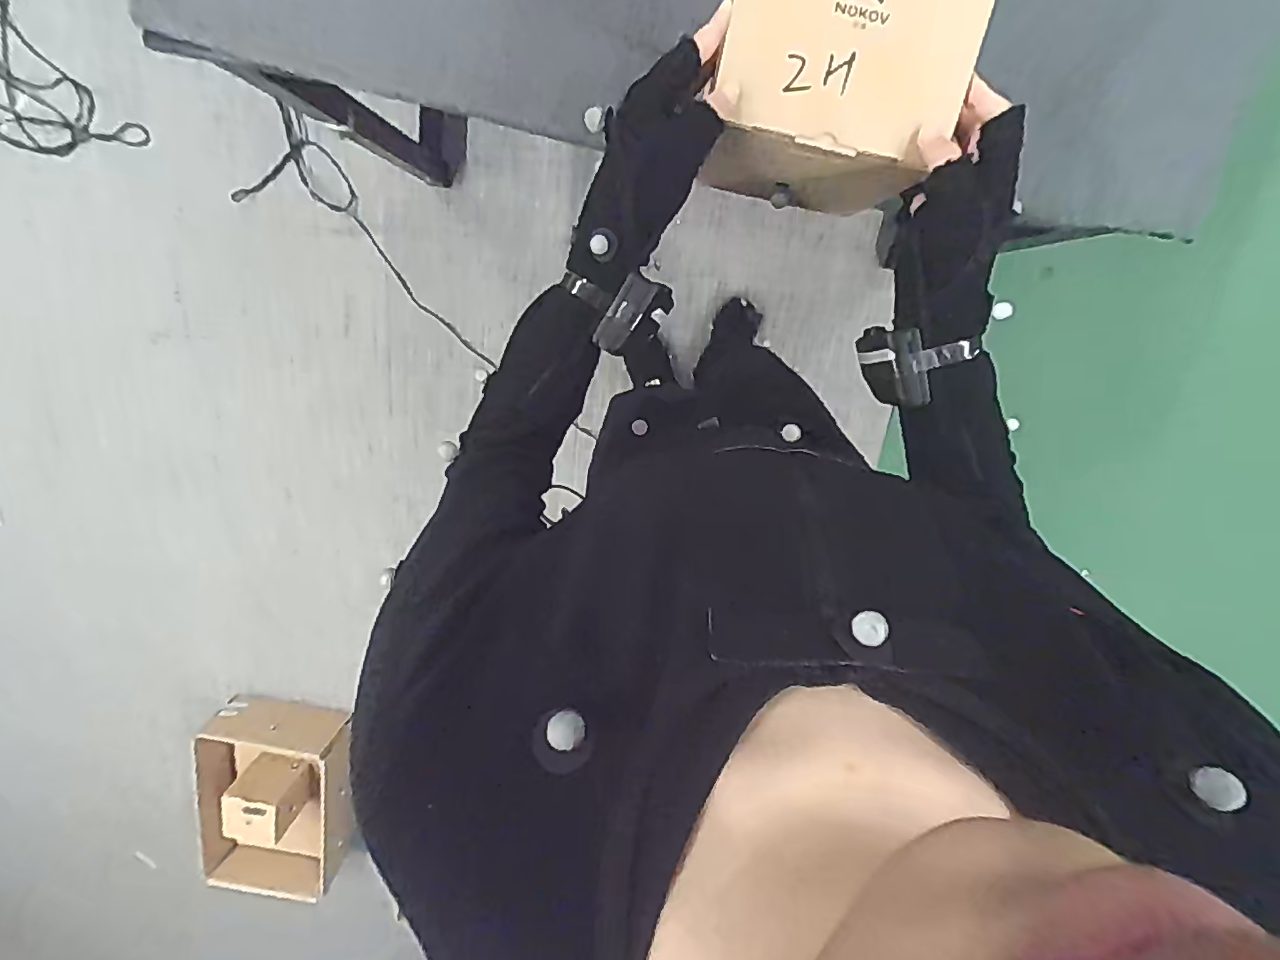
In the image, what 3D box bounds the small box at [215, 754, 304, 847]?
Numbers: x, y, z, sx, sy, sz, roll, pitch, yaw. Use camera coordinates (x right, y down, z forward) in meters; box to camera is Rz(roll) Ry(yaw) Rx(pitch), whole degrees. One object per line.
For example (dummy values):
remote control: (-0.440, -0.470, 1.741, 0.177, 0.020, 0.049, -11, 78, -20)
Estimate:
small box: (-1.190, 1.001, 1.700, 0.168, 0.176, 0.179, 14, 109, -2)
